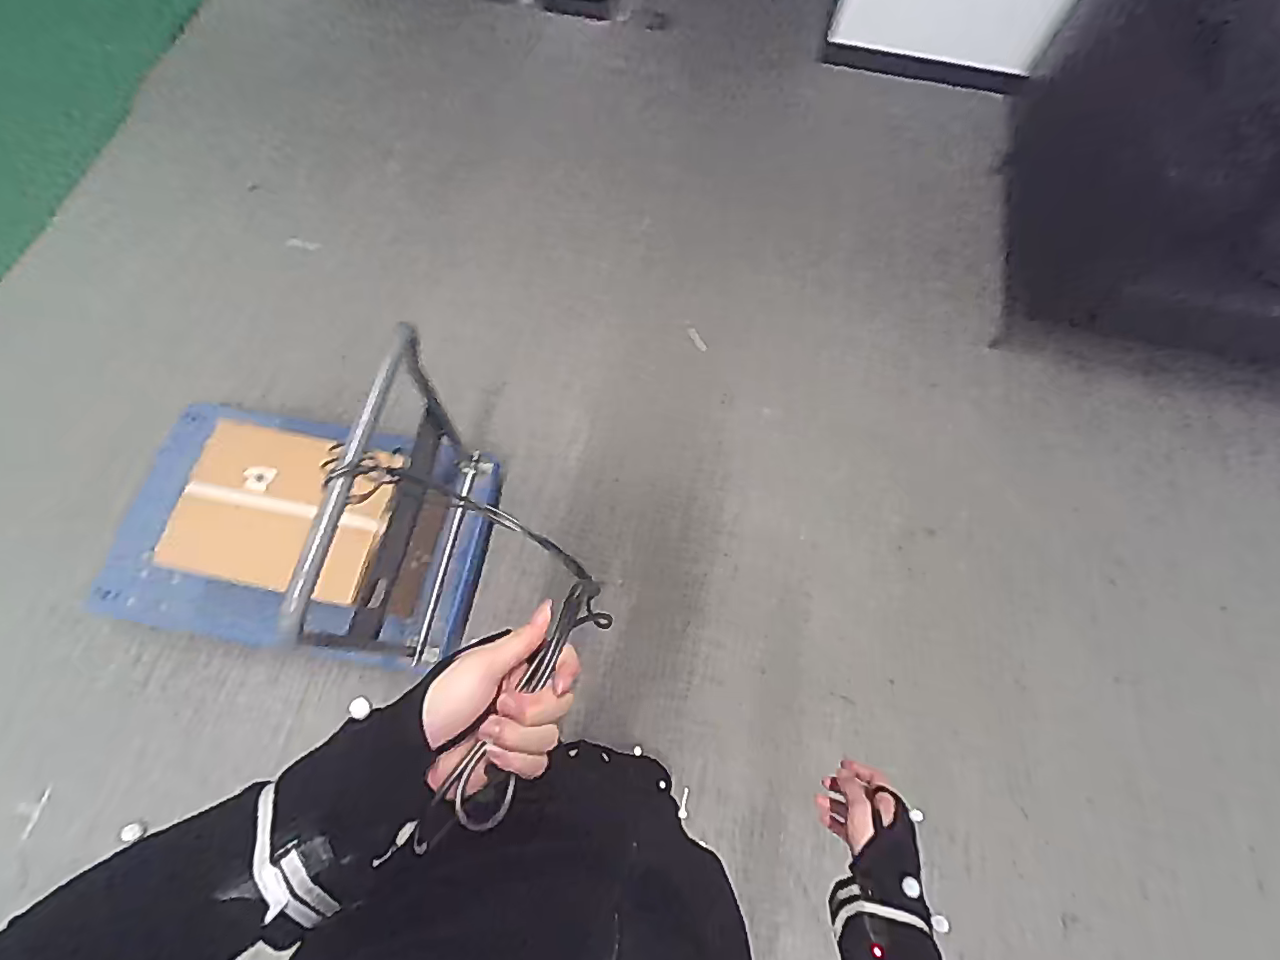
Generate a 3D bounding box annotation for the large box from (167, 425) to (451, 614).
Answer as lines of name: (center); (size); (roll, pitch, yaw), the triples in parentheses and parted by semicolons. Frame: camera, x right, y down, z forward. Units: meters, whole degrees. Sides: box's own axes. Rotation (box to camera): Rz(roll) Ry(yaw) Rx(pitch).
large box: (-0.708, 0.107, 1.239); (0.408, 0.320, 0.320); (12, 70, 2)
